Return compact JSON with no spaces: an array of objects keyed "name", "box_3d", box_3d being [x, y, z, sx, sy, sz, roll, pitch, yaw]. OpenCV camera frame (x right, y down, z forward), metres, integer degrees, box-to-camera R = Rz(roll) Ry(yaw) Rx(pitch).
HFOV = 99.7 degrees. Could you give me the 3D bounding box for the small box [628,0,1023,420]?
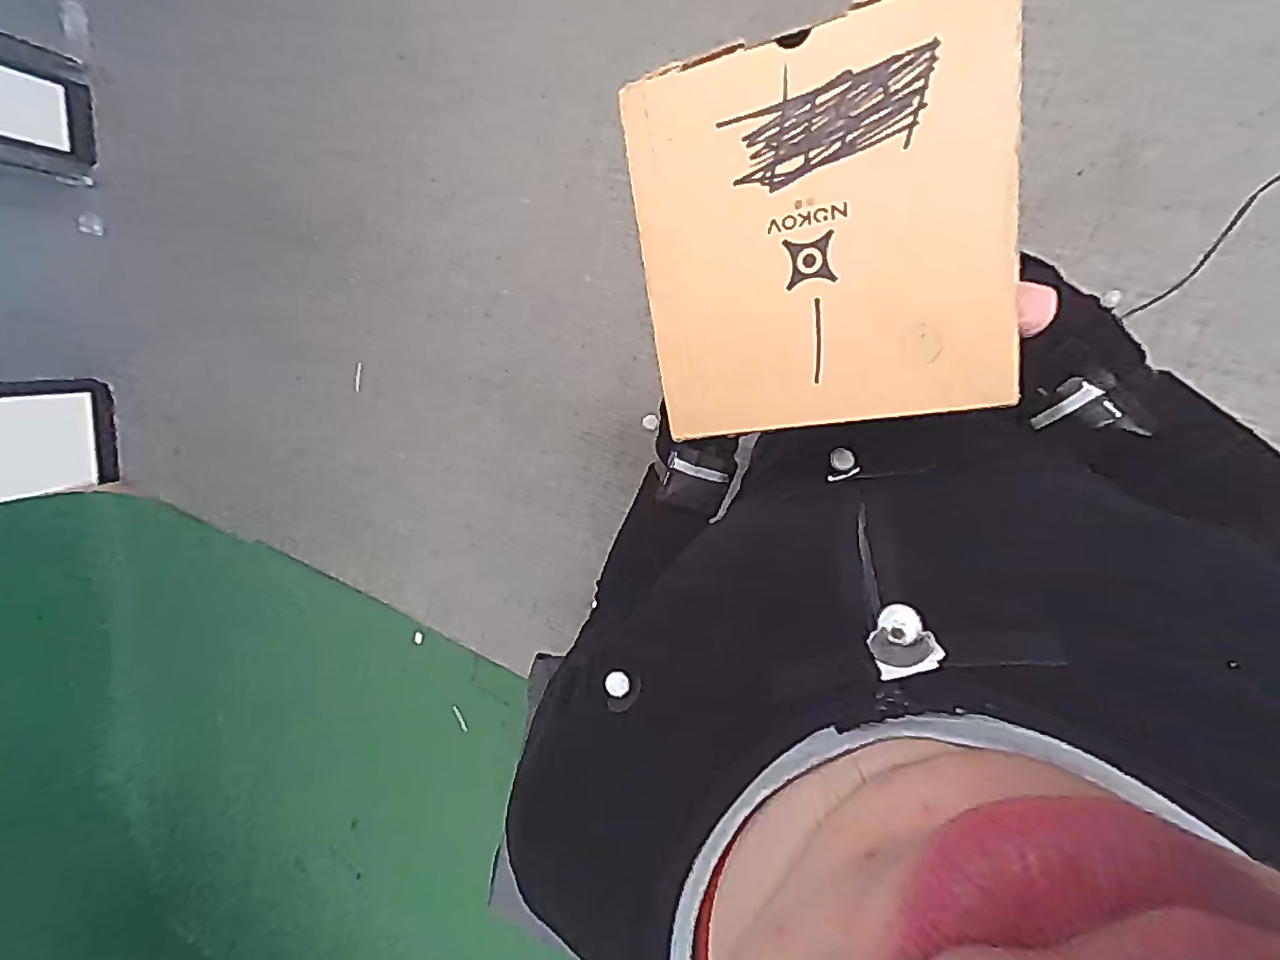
[{"name":"small box","box_3d":[0.107,-0.142,0.325,0.168,0.176,0.179,-4,105,21]}]
